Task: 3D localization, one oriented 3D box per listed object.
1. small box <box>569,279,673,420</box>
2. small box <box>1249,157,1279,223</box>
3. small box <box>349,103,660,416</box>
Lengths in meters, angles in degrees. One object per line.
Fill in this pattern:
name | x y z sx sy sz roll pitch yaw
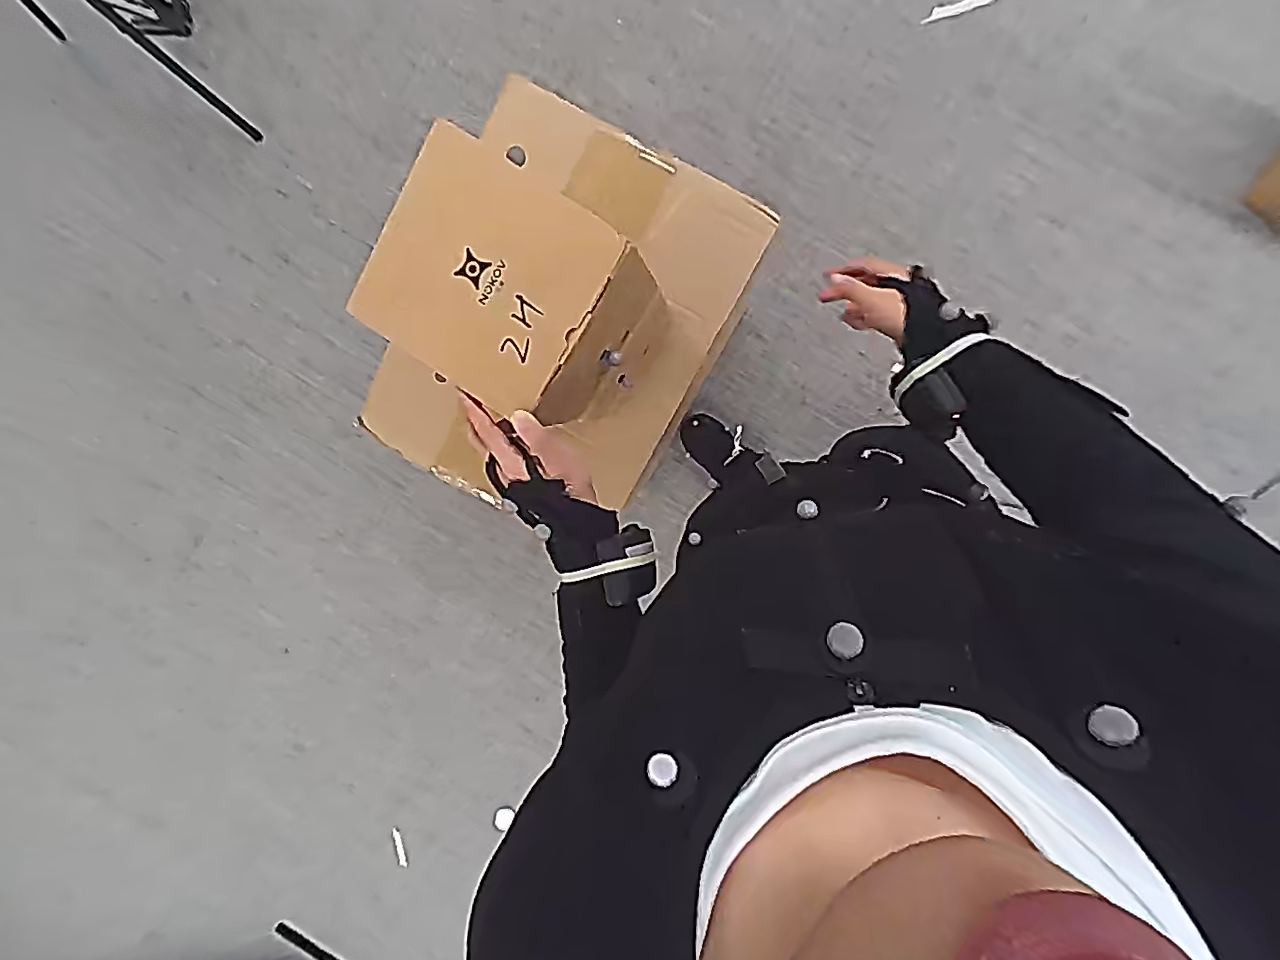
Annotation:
small box | -0.074 -0.189 0.640 0.179 0.176 0.168 32 101 3
small box | 1.361 -0.600 1.030 0.168 0.176 0.179 38 102 1
small box | -0.101 -0.170 0.478 0.179 0.176 0.168 34 102 2
